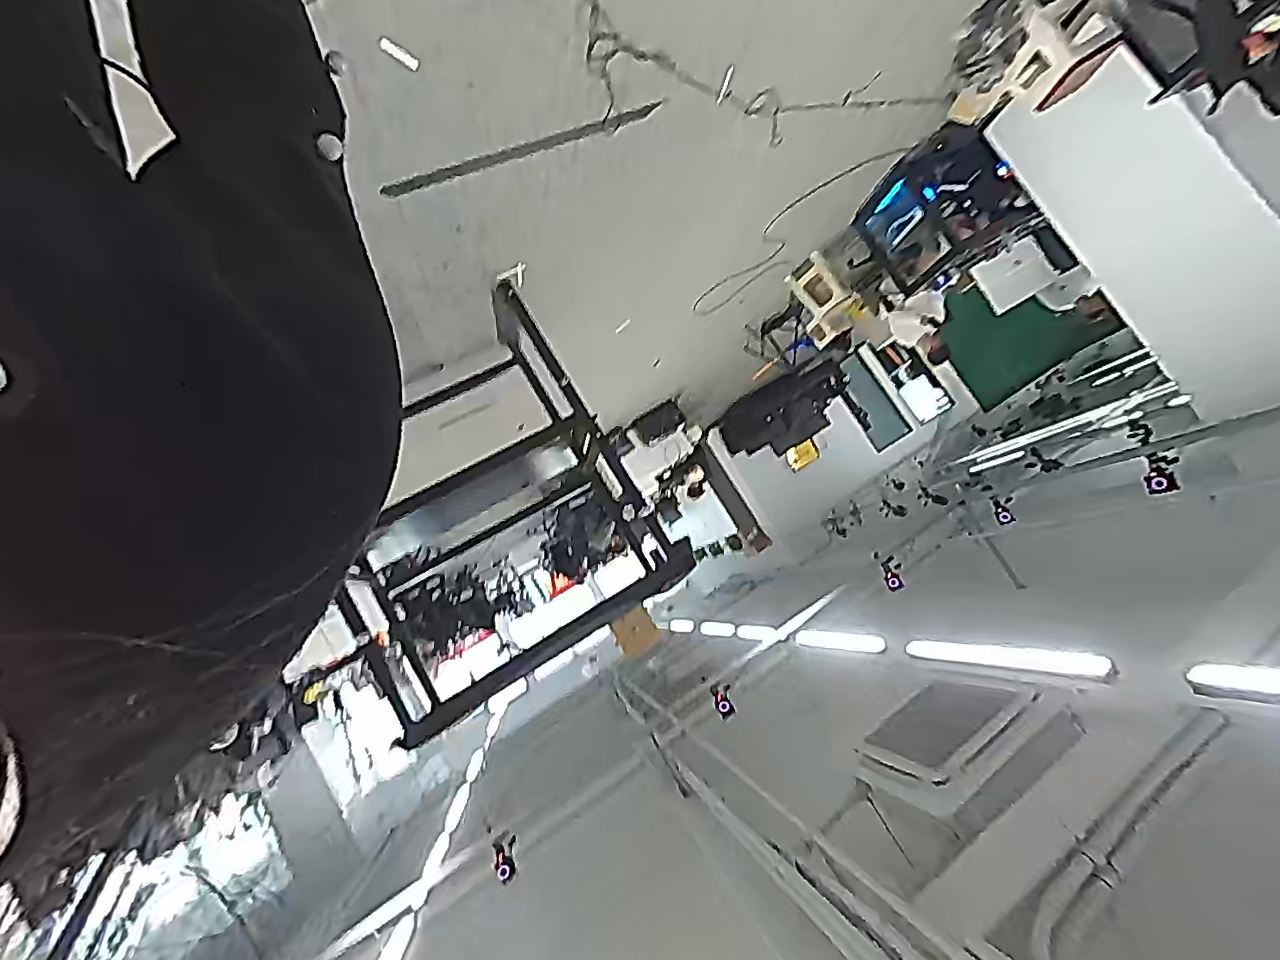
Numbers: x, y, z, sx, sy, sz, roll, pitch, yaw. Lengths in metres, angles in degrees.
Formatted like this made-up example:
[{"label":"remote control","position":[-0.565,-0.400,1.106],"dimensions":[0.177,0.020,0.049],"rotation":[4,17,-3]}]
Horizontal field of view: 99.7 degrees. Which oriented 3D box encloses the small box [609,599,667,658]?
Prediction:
[{"label":"small box","position":[-0.014,0.601,2.211],"dimensions":[0.168,0.176,0.179],"rotation":[-29,174,-11]}]
